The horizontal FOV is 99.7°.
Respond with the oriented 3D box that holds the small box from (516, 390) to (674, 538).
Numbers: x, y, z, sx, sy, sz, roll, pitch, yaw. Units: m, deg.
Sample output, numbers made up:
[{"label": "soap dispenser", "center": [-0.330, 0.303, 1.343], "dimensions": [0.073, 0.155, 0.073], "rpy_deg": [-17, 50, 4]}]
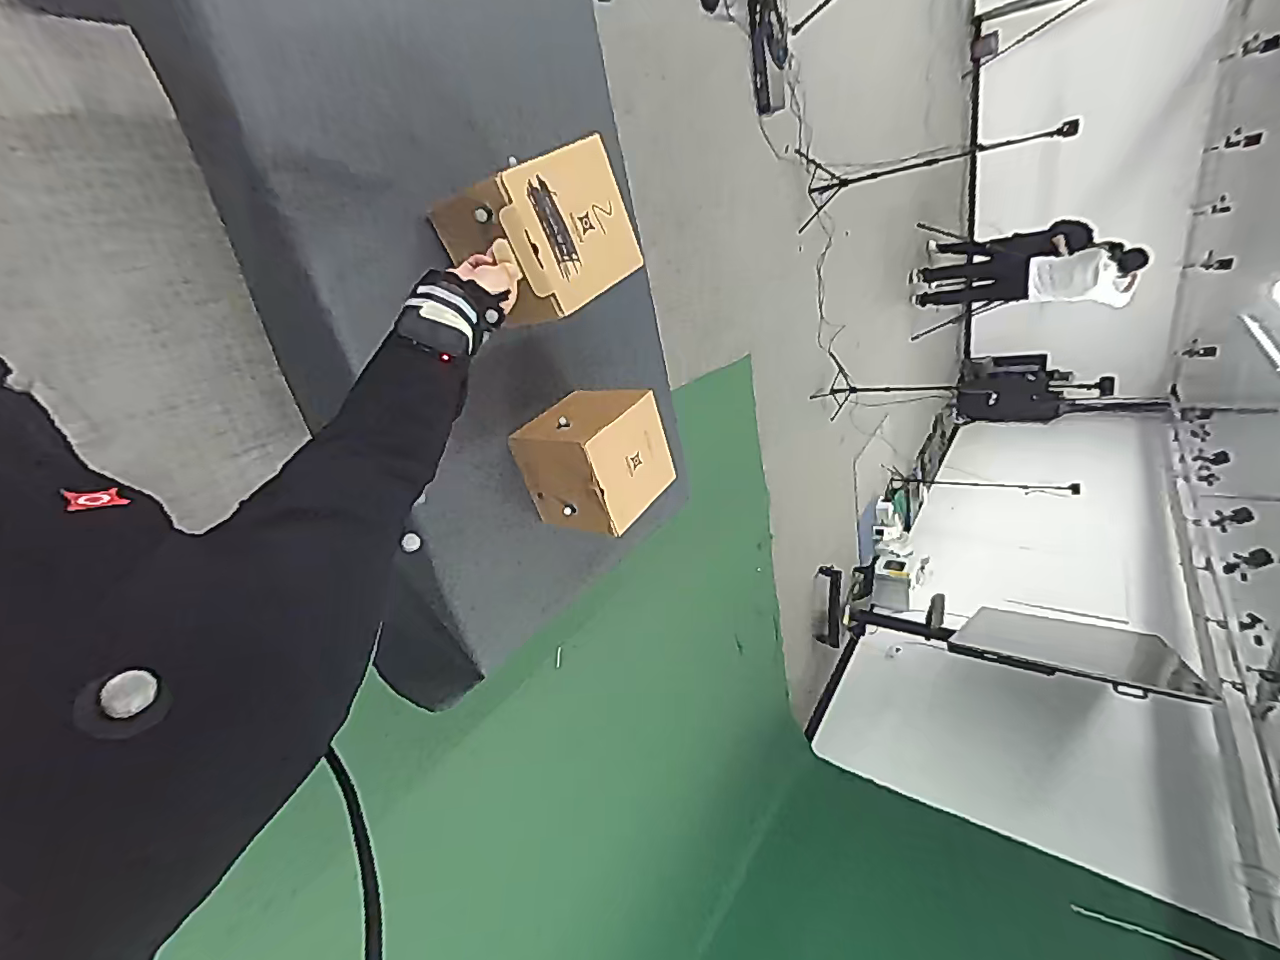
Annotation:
[{"label": "small box", "center": [-0.075, -0.032, 0.867], "dimensions": [0.179, 0.176, 0.168], "rpy_deg": [-46, 131, -40]}]
